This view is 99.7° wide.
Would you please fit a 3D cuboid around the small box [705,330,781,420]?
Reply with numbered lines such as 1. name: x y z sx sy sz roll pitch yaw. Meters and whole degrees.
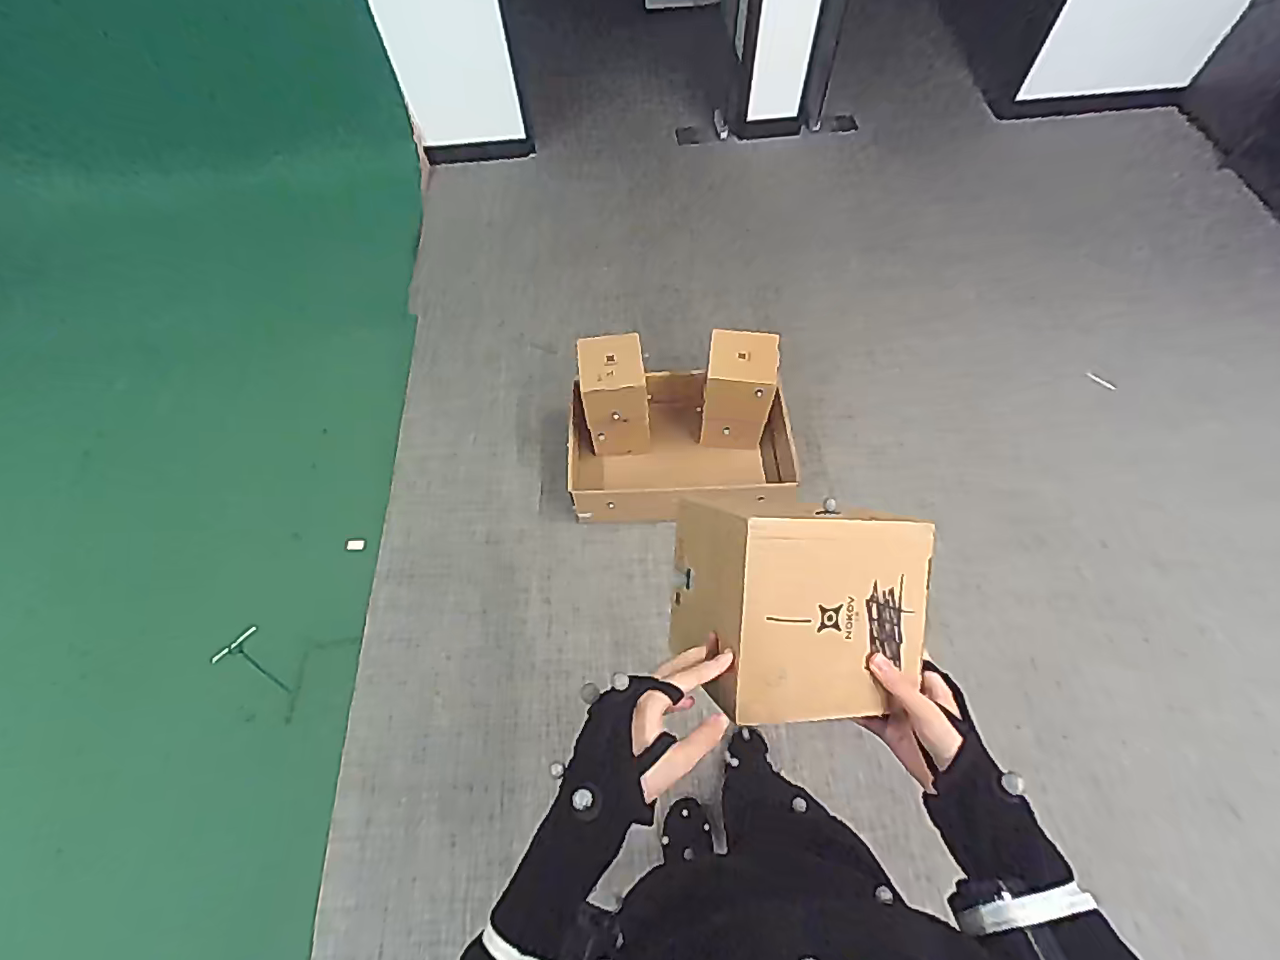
1. small box: 0.270 -0.274 1.439 0.179 0.176 0.168 7 64 6

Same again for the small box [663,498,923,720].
1. small box: 0.132 0.107 0.517 0.179 0.176 0.168 3 92 -13

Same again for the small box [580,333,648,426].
1. small box: -0.067 -0.265 1.444 0.168 0.176 0.179 -6 63 0
